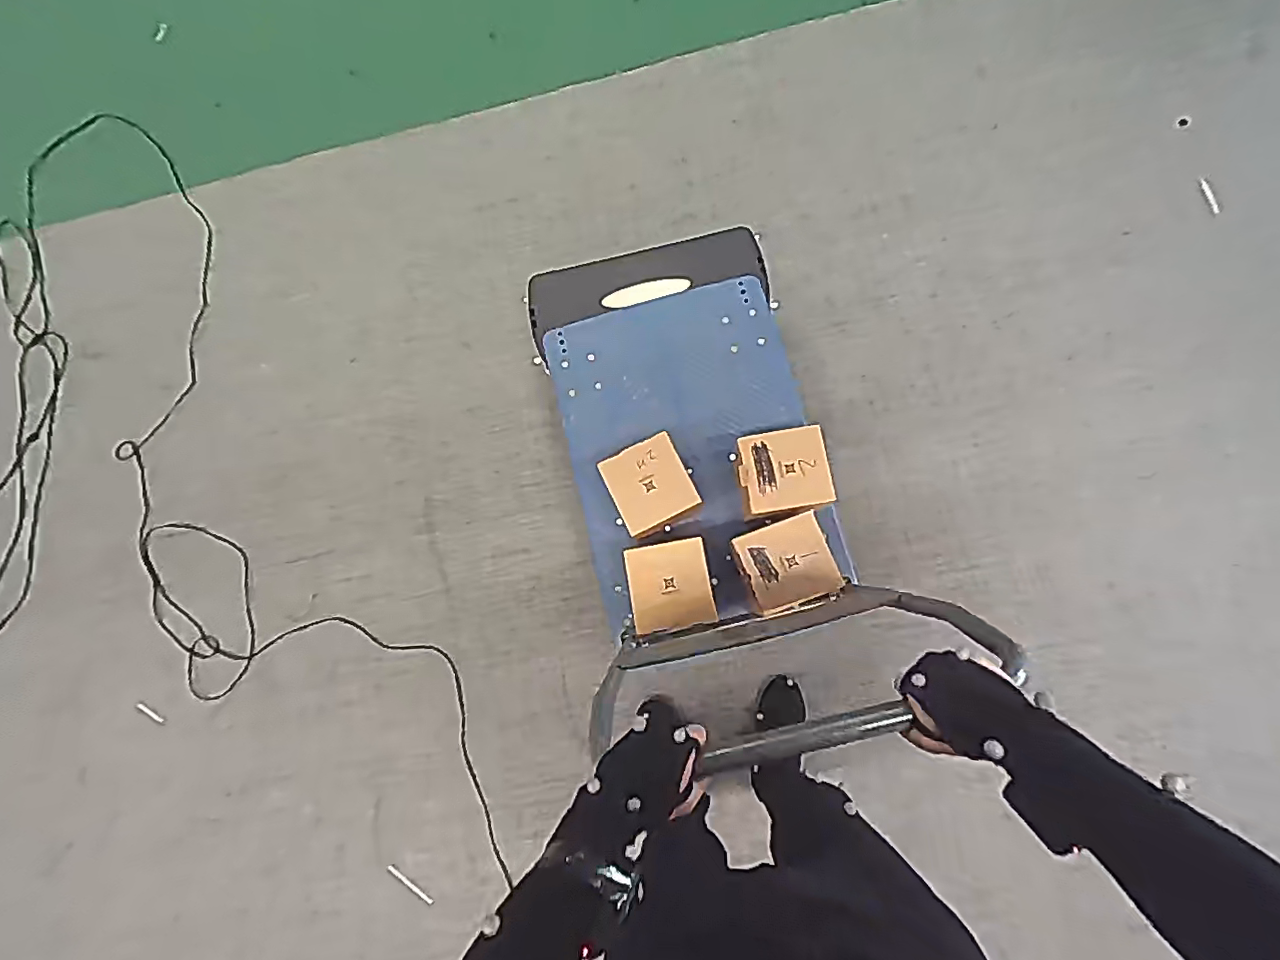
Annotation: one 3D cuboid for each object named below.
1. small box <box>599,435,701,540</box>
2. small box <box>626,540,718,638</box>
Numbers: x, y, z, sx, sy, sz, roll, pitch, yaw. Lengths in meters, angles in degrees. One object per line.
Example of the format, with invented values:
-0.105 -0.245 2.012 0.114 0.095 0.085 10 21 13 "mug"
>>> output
0.028 0.027 1.211 0.168 0.176 0.179 -25 78 -1 "small box"
0.067 0.235 1.171 0.168 0.176 0.179 -10 79 2 "small box"
